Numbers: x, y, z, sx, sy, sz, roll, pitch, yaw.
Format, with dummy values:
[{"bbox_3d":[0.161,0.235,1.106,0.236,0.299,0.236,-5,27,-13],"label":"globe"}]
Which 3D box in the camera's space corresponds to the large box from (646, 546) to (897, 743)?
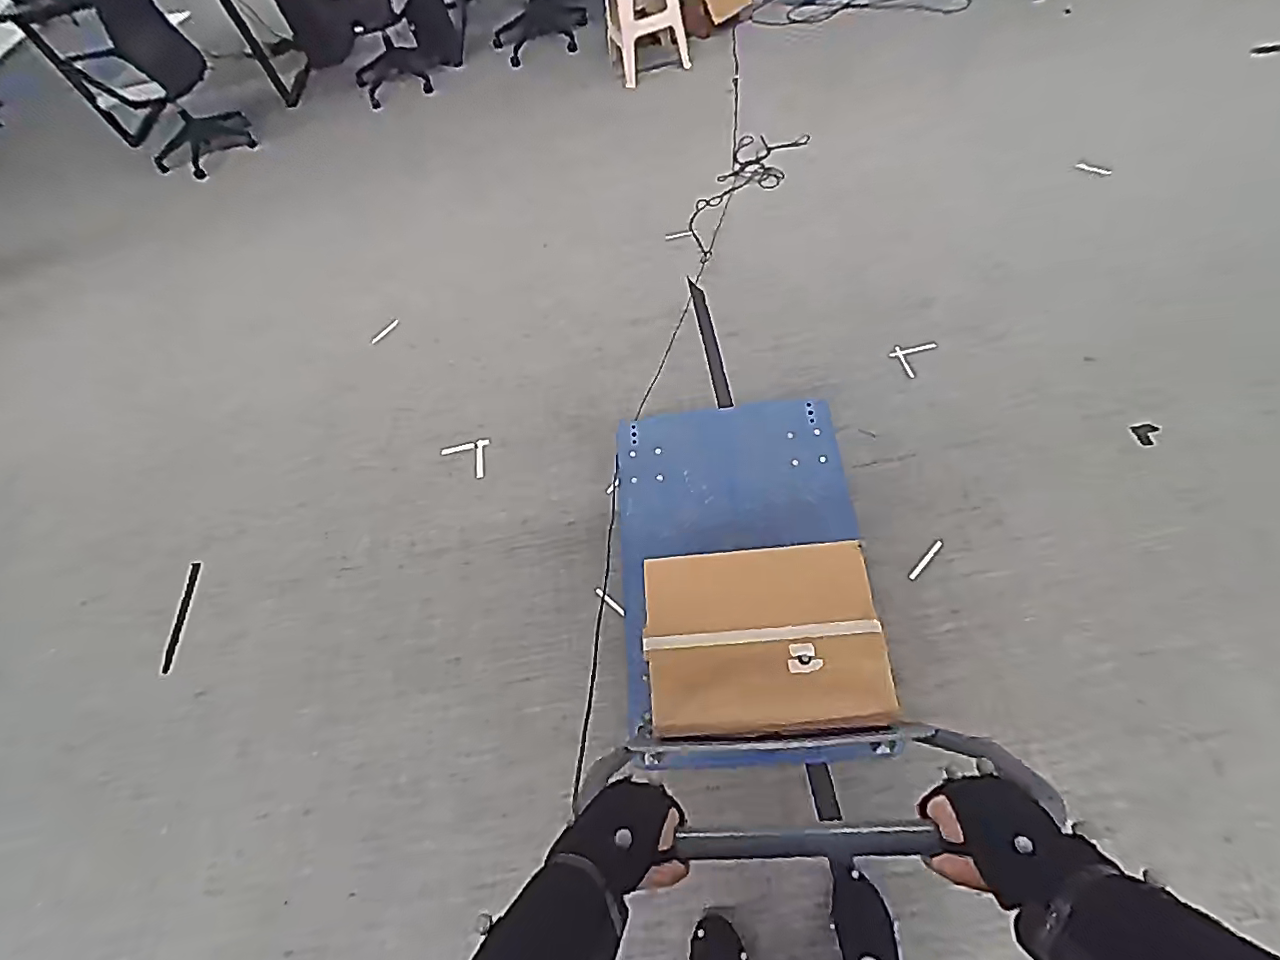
[{"bbox_3d":[0.237,0.347,1.100,0.408,0.320,0.320,-7,66,6],"label":"large box"}]
